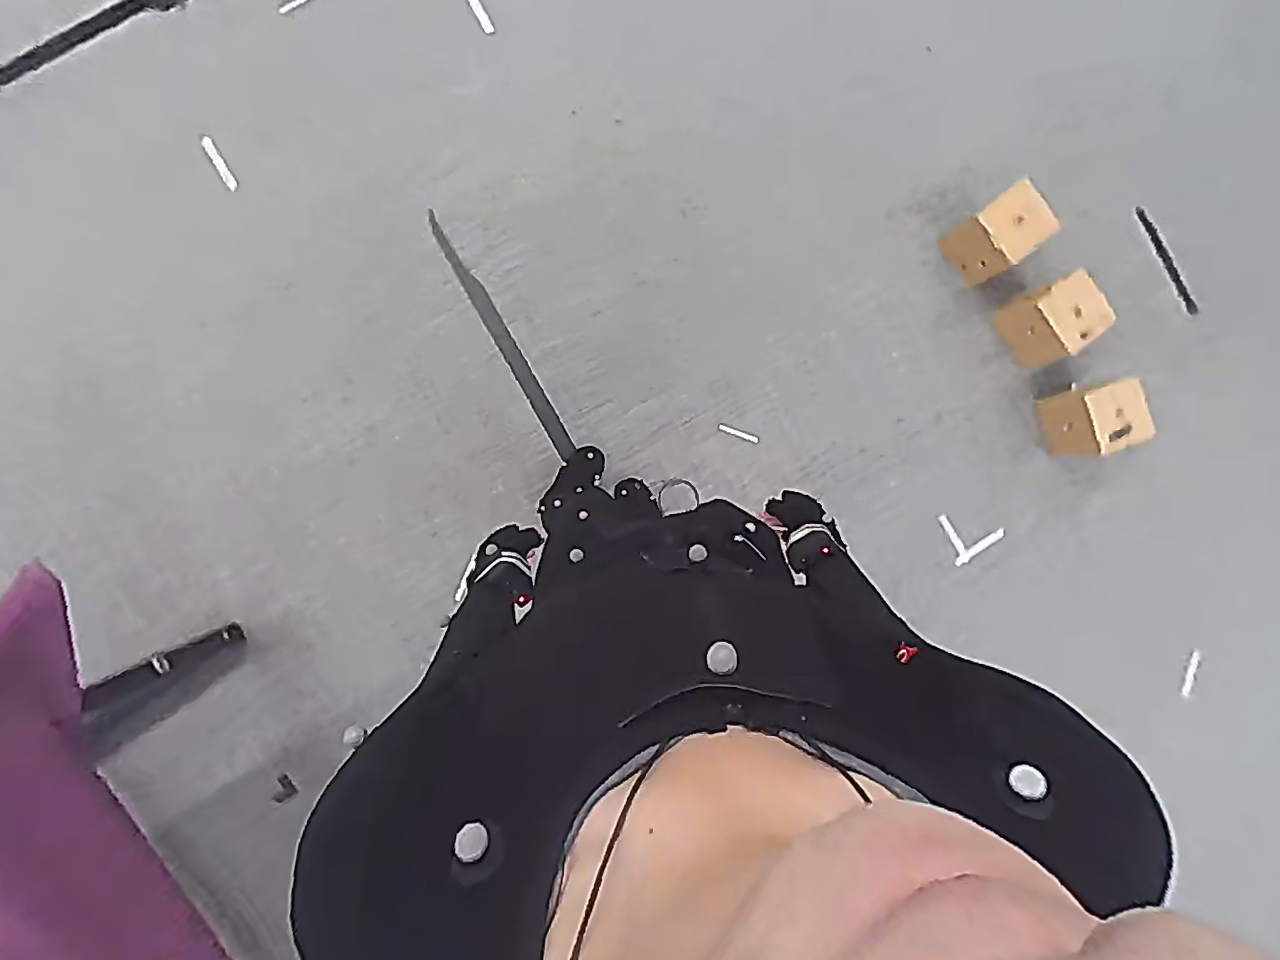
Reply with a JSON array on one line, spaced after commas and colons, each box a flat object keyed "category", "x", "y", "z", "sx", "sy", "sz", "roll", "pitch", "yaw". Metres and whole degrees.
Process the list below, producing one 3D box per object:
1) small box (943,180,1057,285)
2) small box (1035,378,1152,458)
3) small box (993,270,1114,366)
[{"category": "small box", "x": 0.981, "y": -0.676, "z": 1.500, "sx": 0.179, "sy": 0.176, "sz": 0.168, "roll": -40, "pitch": 94, "yaw": -3}, {"category": "small box", "x": 1.273, "y": -0.170, "z": 1.529, "sx": 0.168, "sy": 0.176, "sz": 0.179, "roll": -20, "pitch": 92, "yaw": -4}, {"category": "small box", "x": 1.145, "y": -0.444, "z": 1.514, "sx": 0.168, "sy": 0.176, "sz": 0.179, "roll": -38, "pitch": 93, "yaw": -2}]
